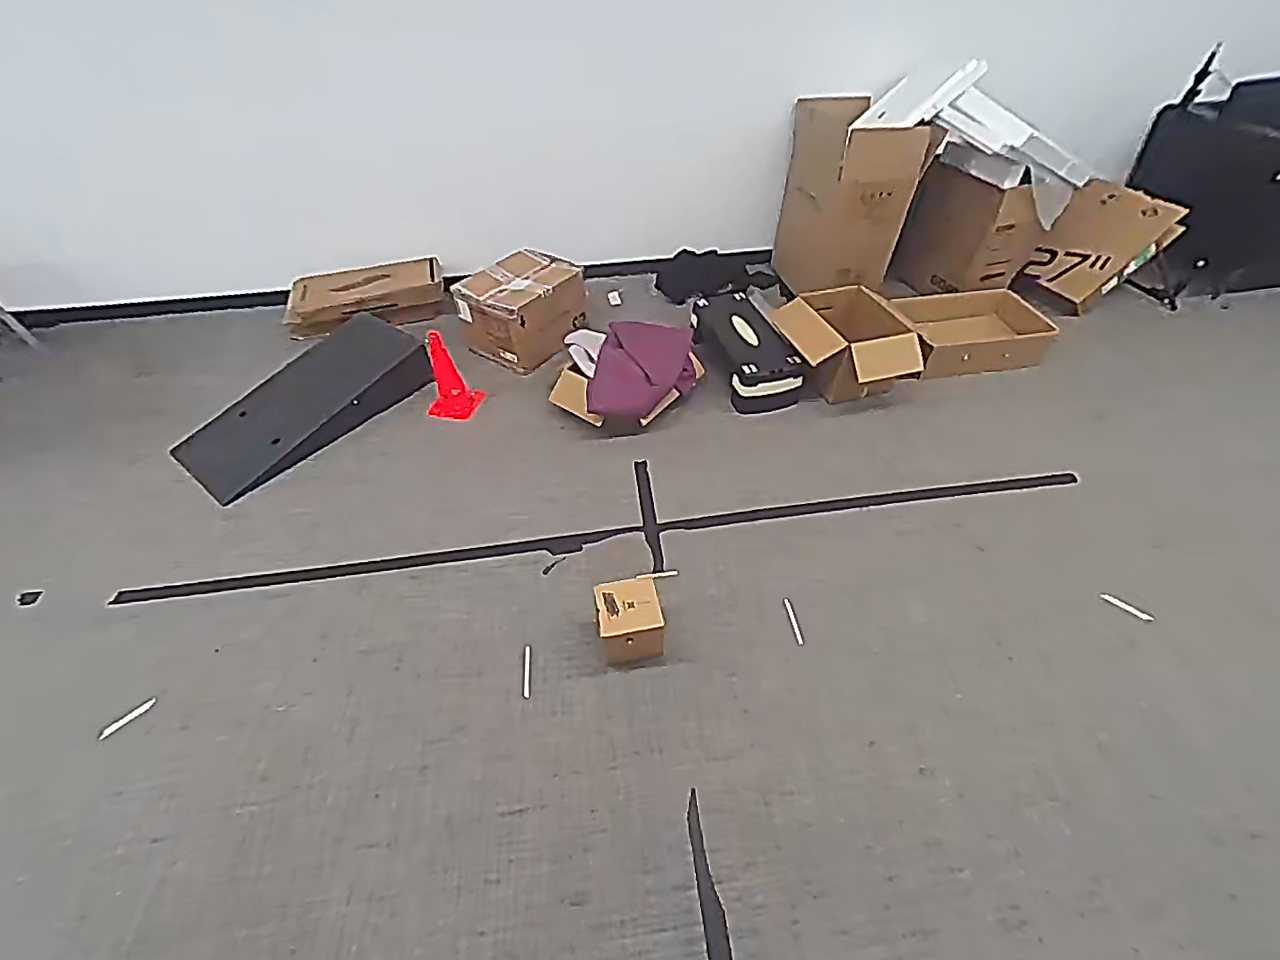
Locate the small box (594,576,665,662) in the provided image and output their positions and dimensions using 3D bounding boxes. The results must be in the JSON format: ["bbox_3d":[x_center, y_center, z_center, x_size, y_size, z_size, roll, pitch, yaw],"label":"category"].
[{"bbox_3d":[-0.029,0.402,1.550,0.179,0.176,0.168,-9,47,-7],"label":"small box"}]
